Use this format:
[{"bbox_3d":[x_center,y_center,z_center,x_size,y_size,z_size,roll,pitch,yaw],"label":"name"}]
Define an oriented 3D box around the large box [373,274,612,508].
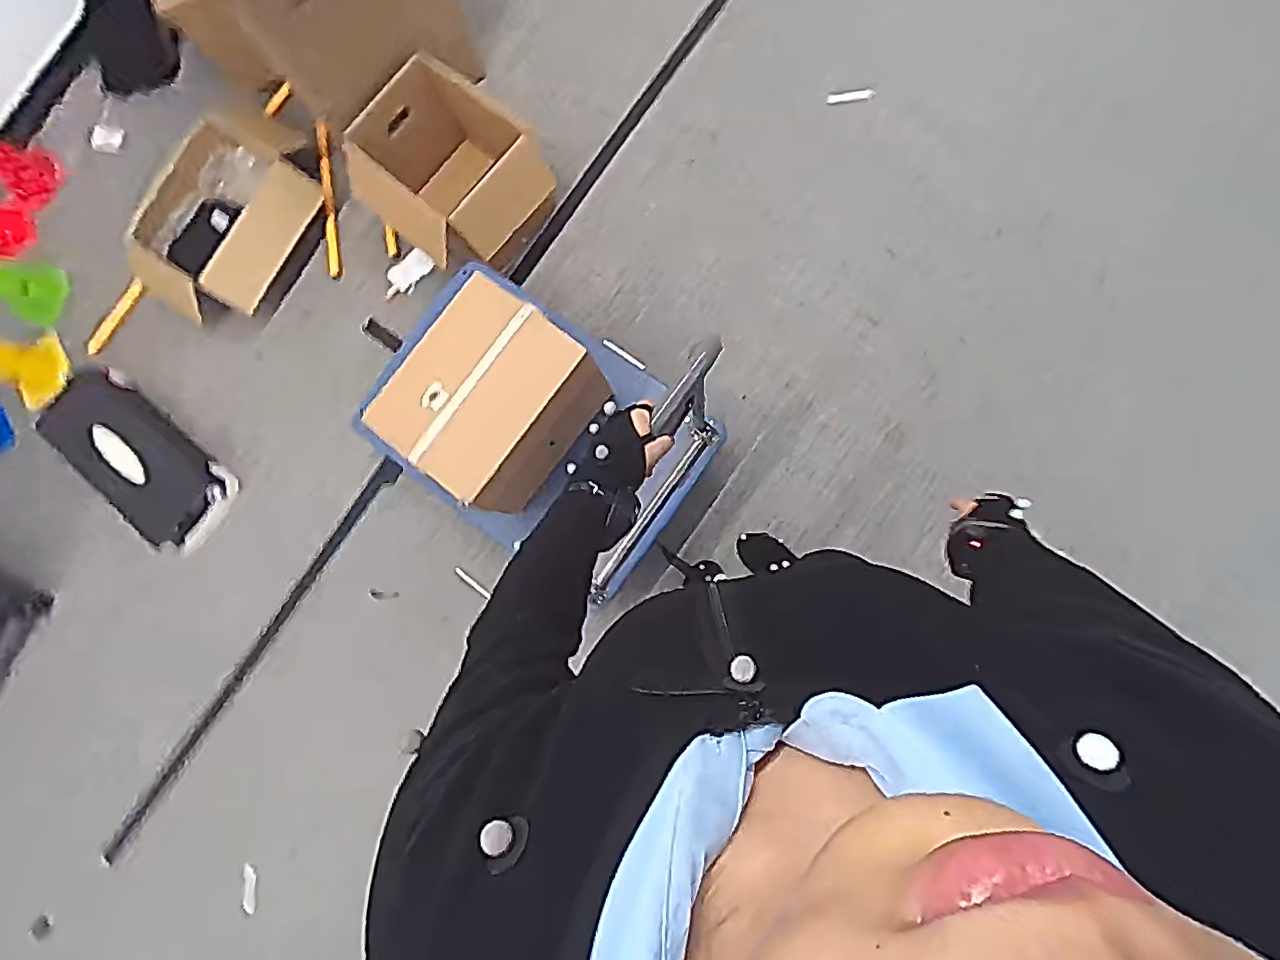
[{"bbox_3d":[-0.320,-0.185,1.280,0.320,0.320,0.408,36,90,10],"label":"large box"}]
